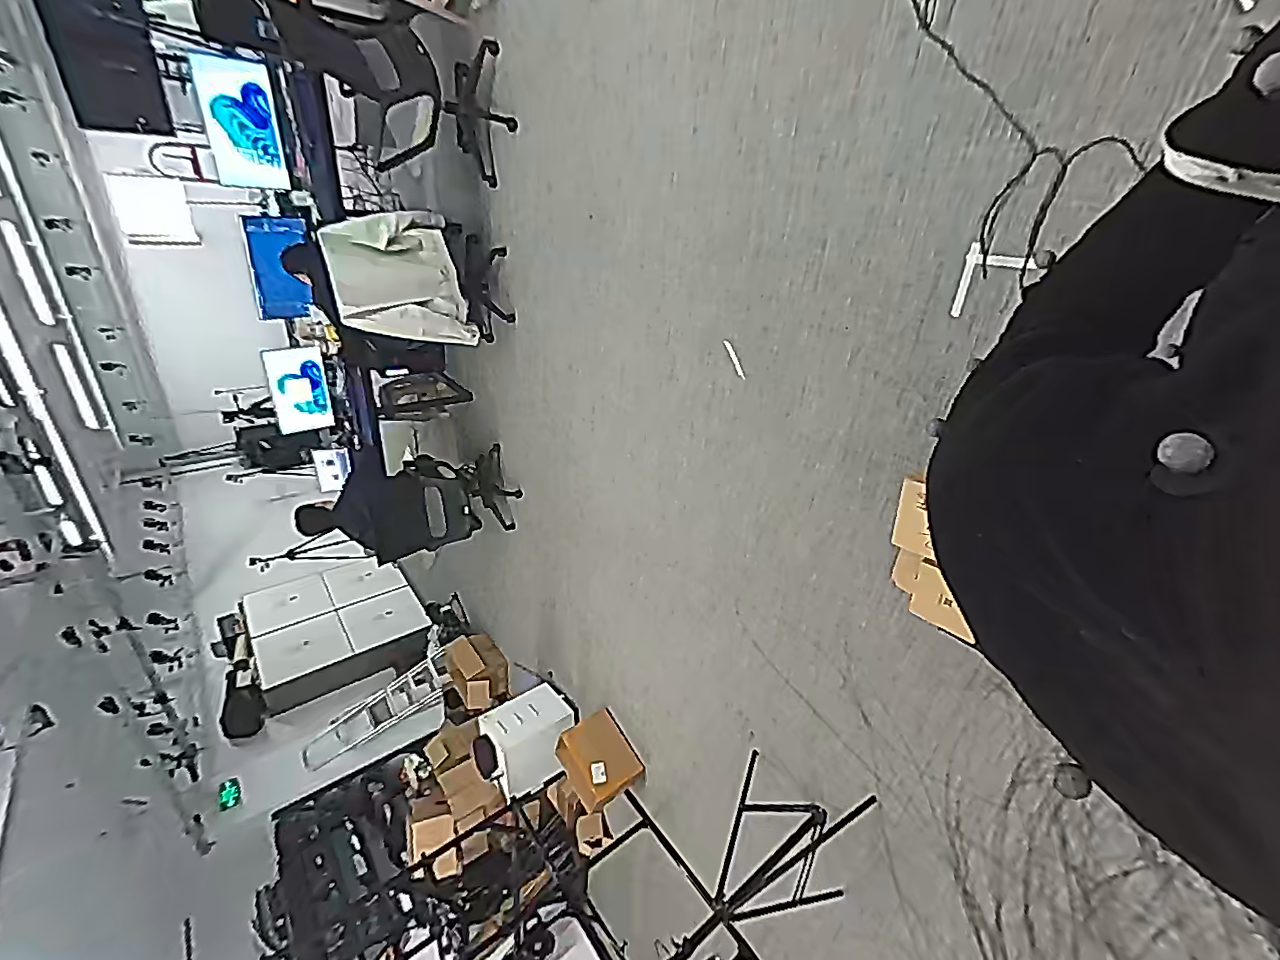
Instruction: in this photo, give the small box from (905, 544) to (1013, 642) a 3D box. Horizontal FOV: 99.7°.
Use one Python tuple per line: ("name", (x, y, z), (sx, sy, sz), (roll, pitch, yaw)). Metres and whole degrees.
("small box", (0.843, 0.288, 1.433), (0.179, 0.176, 0.168), (26, 126, 45))
